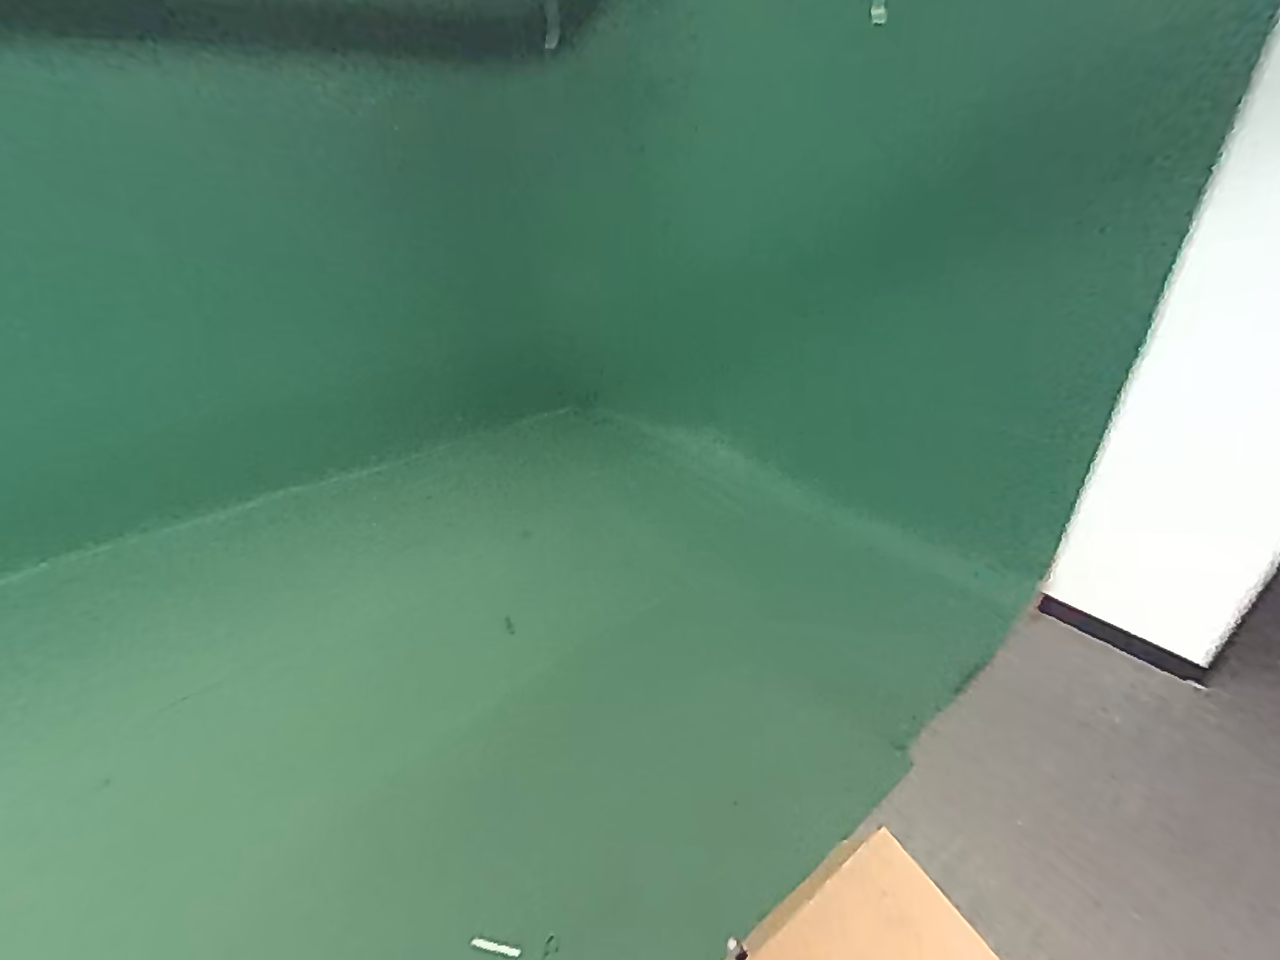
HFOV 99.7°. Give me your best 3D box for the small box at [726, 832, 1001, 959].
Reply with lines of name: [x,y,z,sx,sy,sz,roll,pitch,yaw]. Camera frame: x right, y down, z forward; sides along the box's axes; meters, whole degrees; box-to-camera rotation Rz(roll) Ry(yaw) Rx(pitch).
small box: [0.164,0.391,0.387,0.179,0.176,0.168,-34,56,-15]
